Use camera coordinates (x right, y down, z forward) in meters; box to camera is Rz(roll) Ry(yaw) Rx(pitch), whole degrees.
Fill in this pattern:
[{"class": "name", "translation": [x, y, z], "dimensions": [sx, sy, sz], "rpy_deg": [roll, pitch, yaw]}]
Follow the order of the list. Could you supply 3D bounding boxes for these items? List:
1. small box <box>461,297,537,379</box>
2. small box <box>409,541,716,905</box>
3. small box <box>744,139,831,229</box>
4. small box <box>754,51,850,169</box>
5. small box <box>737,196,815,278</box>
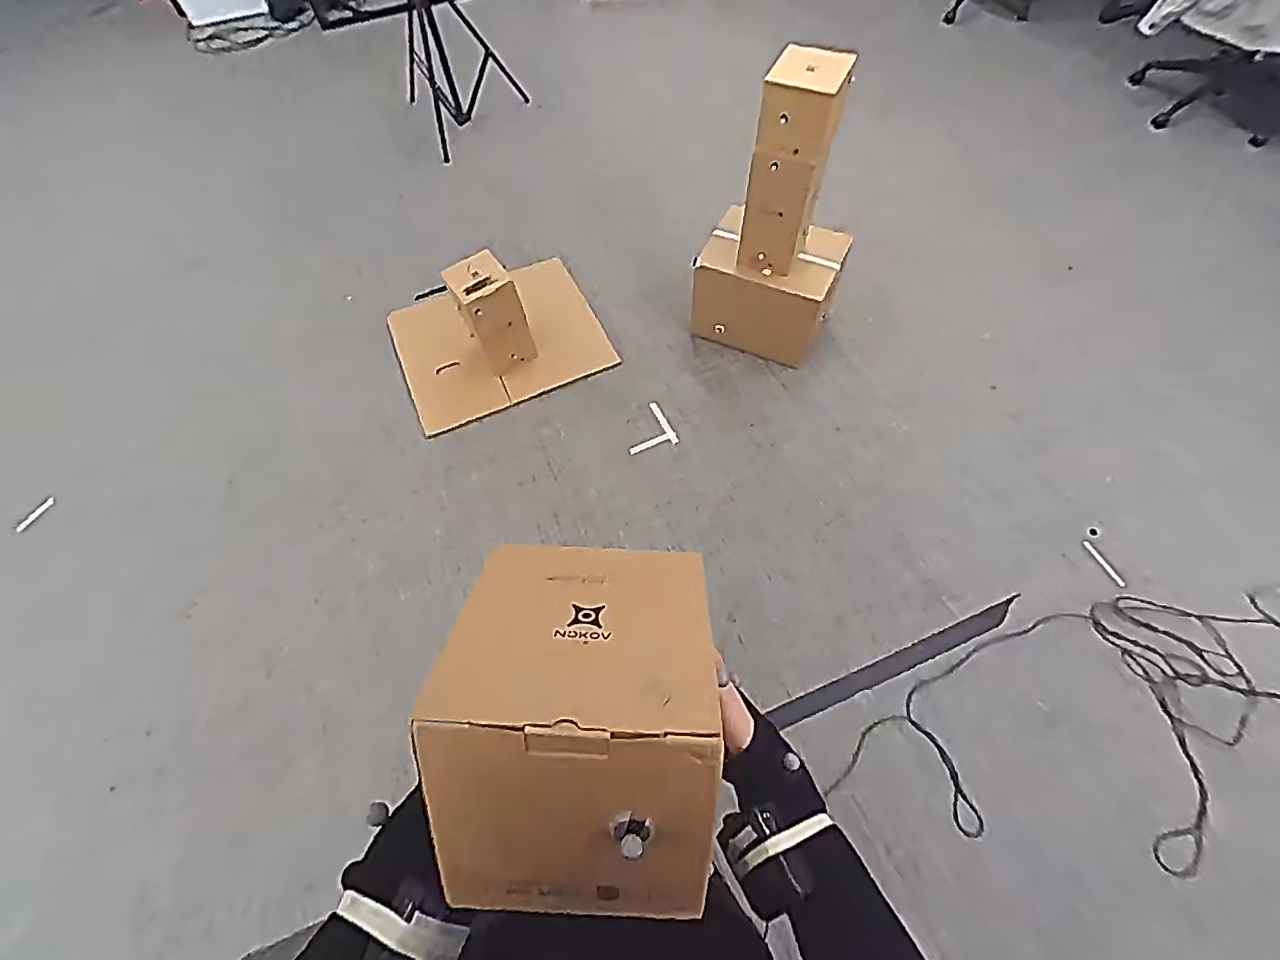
[{"class": "small box", "translation": [-0.475, -0.479, 1.837], "dimensions": [0.168, 0.176, 0.179], "rpy_deg": [-32, 65, -12]}, {"class": "small box", "translation": [-0.039, 0.162, 0.388], "dimensions": [0.168, 0.176, 0.179], "rpy_deg": [3, 24, 1]}, {"class": "small box", "translation": [0.389, -0.815, 1.453], "dimensions": [0.168, 0.176, 0.179], "rpy_deg": [22, 64, 14]}, {"class": "small box", "translation": [0.385, -0.891, 1.308], "dimensions": [0.168, 0.176, 0.179], "rpy_deg": [21, 64, 14]}, {"class": "small box", "translation": [0.395, -0.734, 1.595], "dimensions": [0.168, 0.176, 0.179], "rpy_deg": [22, 65, 14]}]
